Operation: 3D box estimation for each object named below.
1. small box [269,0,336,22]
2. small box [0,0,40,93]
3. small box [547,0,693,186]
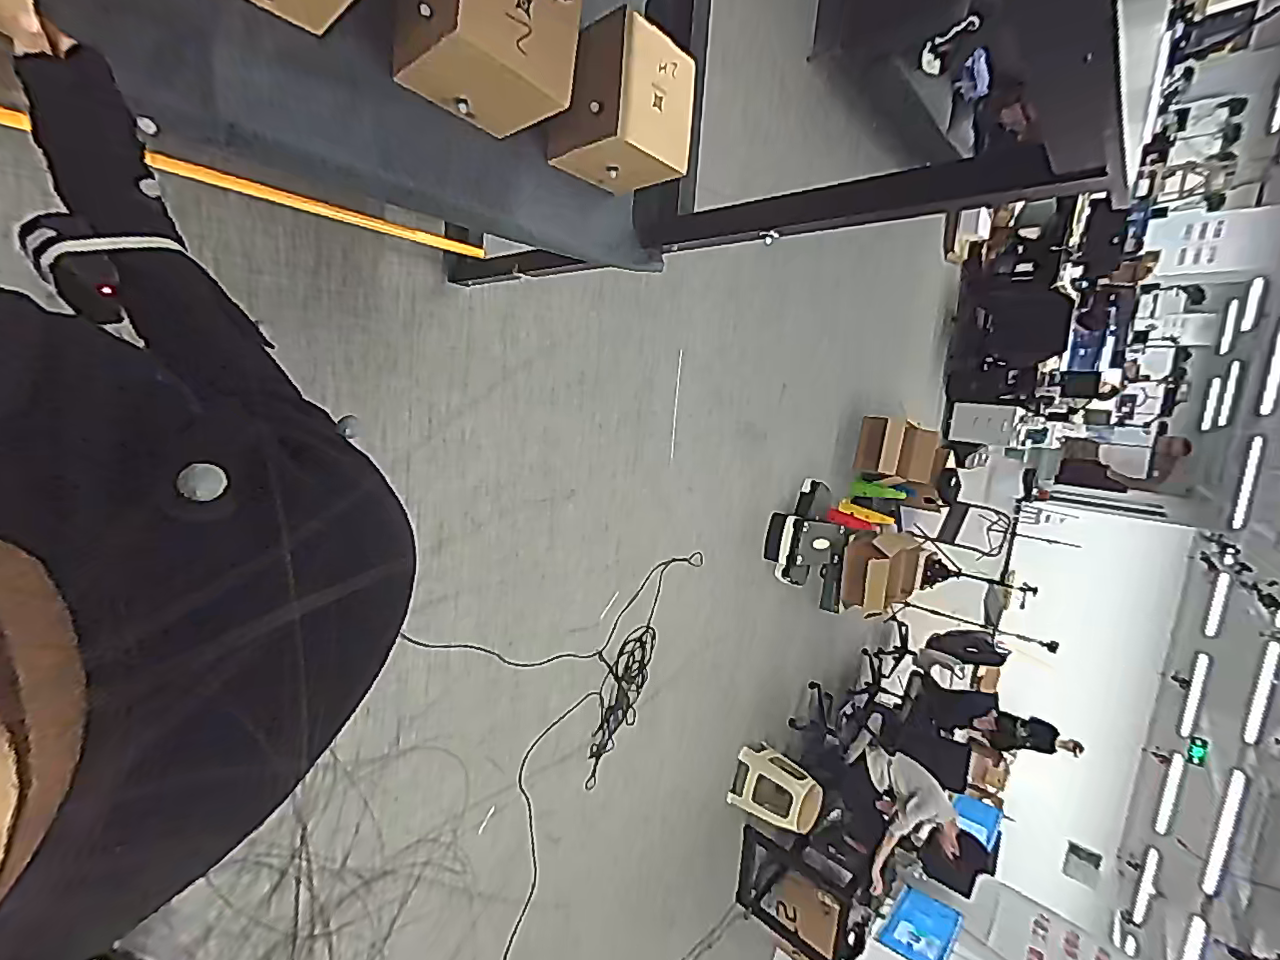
[{"bbox_3d":[-0.367,-0.598,0.515,0.168,0.176,0.179,-4,102,-48],"label":"small box"},{"bbox_3d":[-0.540,-0.408,0.364,0.168,0.176,0.179,-8,108,-47],"label":"small box"},{"bbox_3d":[-0.036,-0.606,0.881,0.168,0.176,0.179,-5,103,-48],"label":"small box"}]
